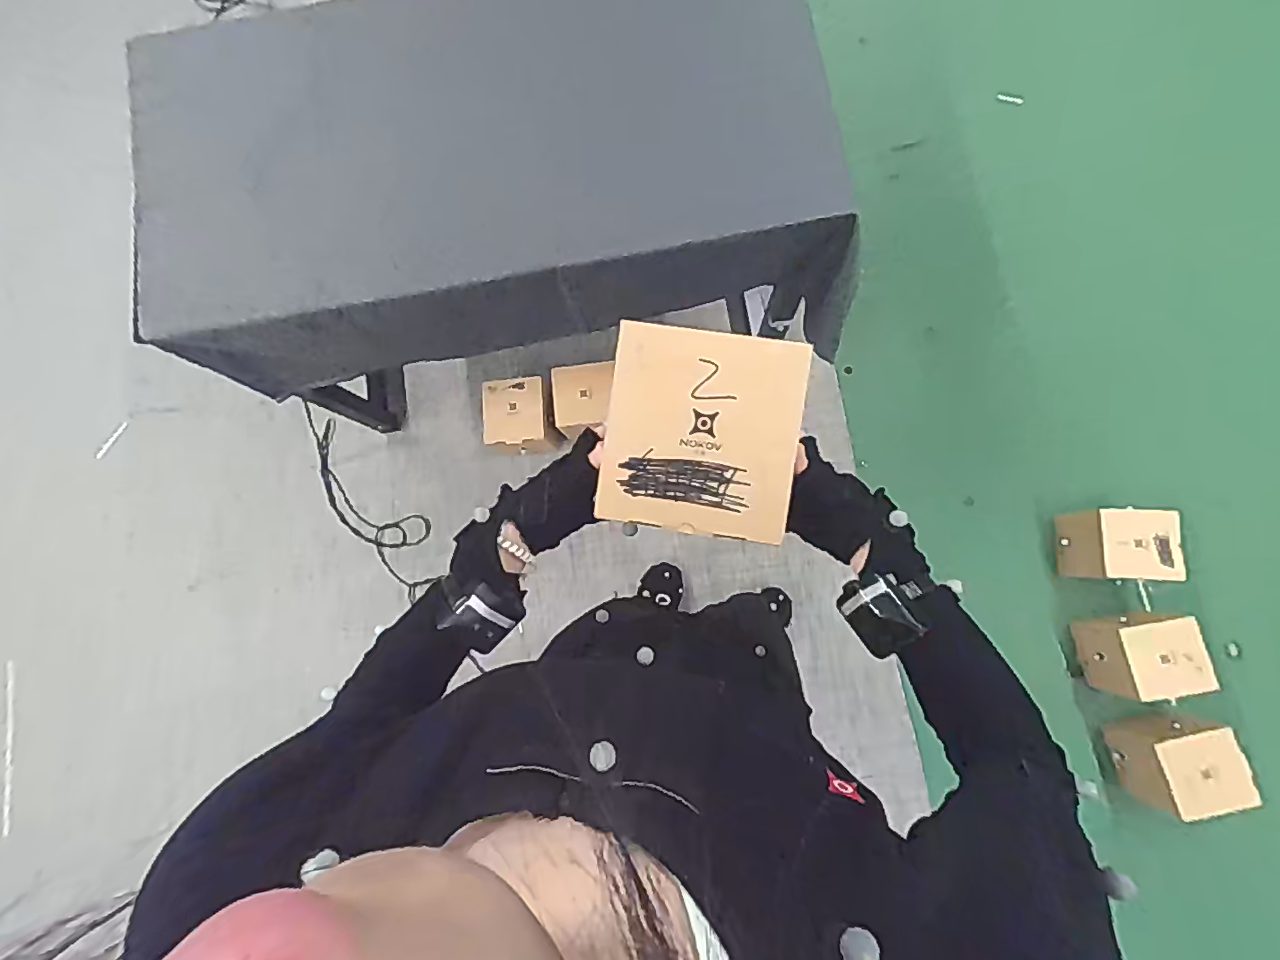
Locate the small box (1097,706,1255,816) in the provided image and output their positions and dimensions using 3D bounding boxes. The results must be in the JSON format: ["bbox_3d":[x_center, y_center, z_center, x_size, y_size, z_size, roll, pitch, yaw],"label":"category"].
[{"bbox_3d":[1.250,0.651,1.275,0.179,0.176,0.168,-14,80,1],"label":"small box"}]

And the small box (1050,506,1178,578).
[{"bbox_3d":[1.178,0.157,1.355,0.179,0.176,0.168,1,81,5],"label":"small box"}]

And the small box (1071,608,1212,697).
[{"bbox_3d":[1.199,0.411,1.314,0.179,0.176,0.168,-11,81,2],"label":"small box"}]
